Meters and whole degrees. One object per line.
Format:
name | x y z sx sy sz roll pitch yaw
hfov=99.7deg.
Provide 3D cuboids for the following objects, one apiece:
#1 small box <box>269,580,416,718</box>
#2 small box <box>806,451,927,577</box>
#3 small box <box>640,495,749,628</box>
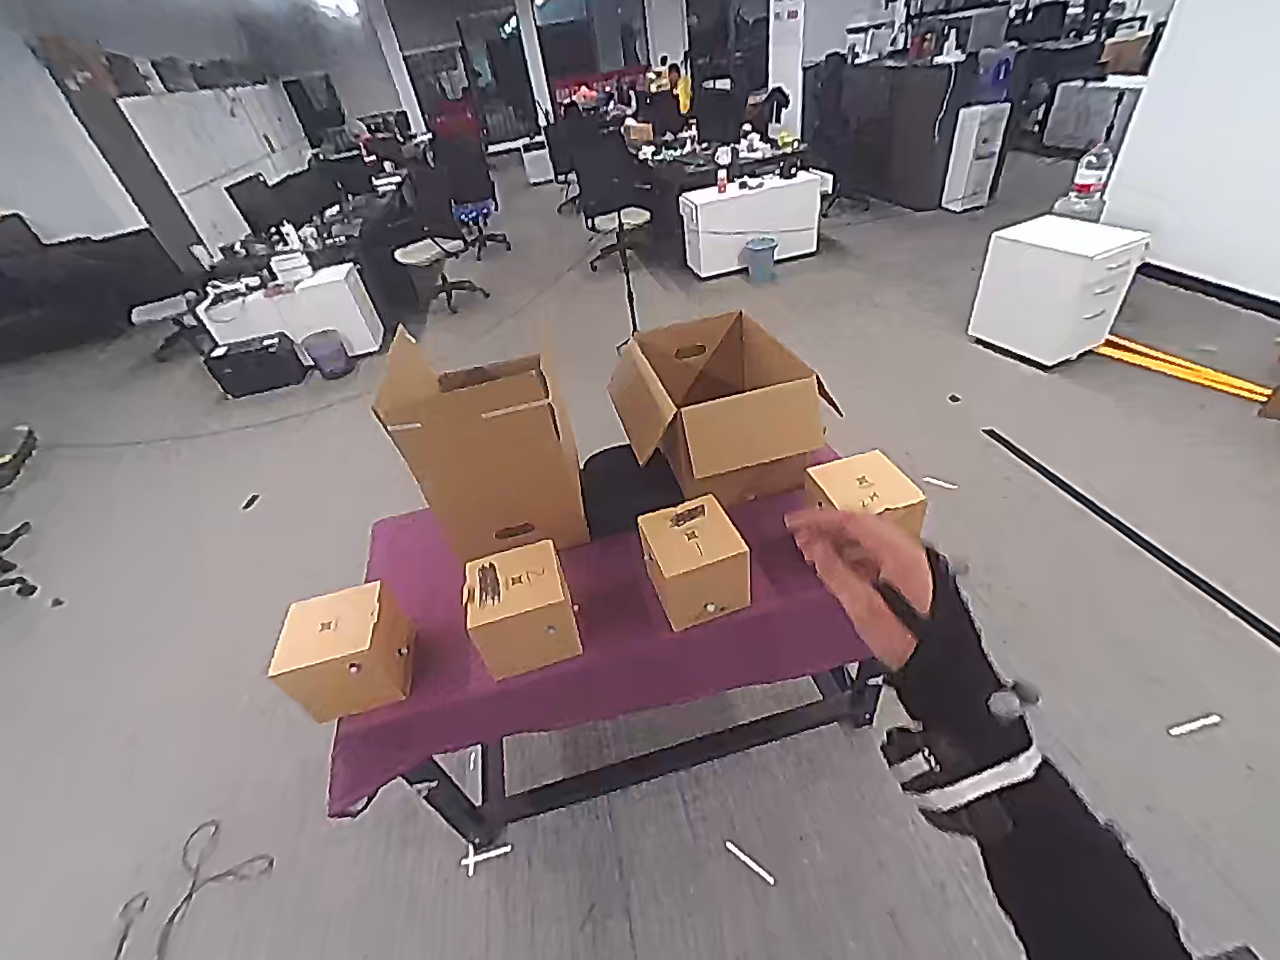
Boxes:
small box | -0.555 0.325 1.035 0.179 0.176 0.168 -14 39 -6
small box | 0.454 0.070 1.119 0.168 0.176 0.179 -15 39 -4
small box | 0.108 0.163 1.086 0.168 0.176 0.179 -17 40 -8
